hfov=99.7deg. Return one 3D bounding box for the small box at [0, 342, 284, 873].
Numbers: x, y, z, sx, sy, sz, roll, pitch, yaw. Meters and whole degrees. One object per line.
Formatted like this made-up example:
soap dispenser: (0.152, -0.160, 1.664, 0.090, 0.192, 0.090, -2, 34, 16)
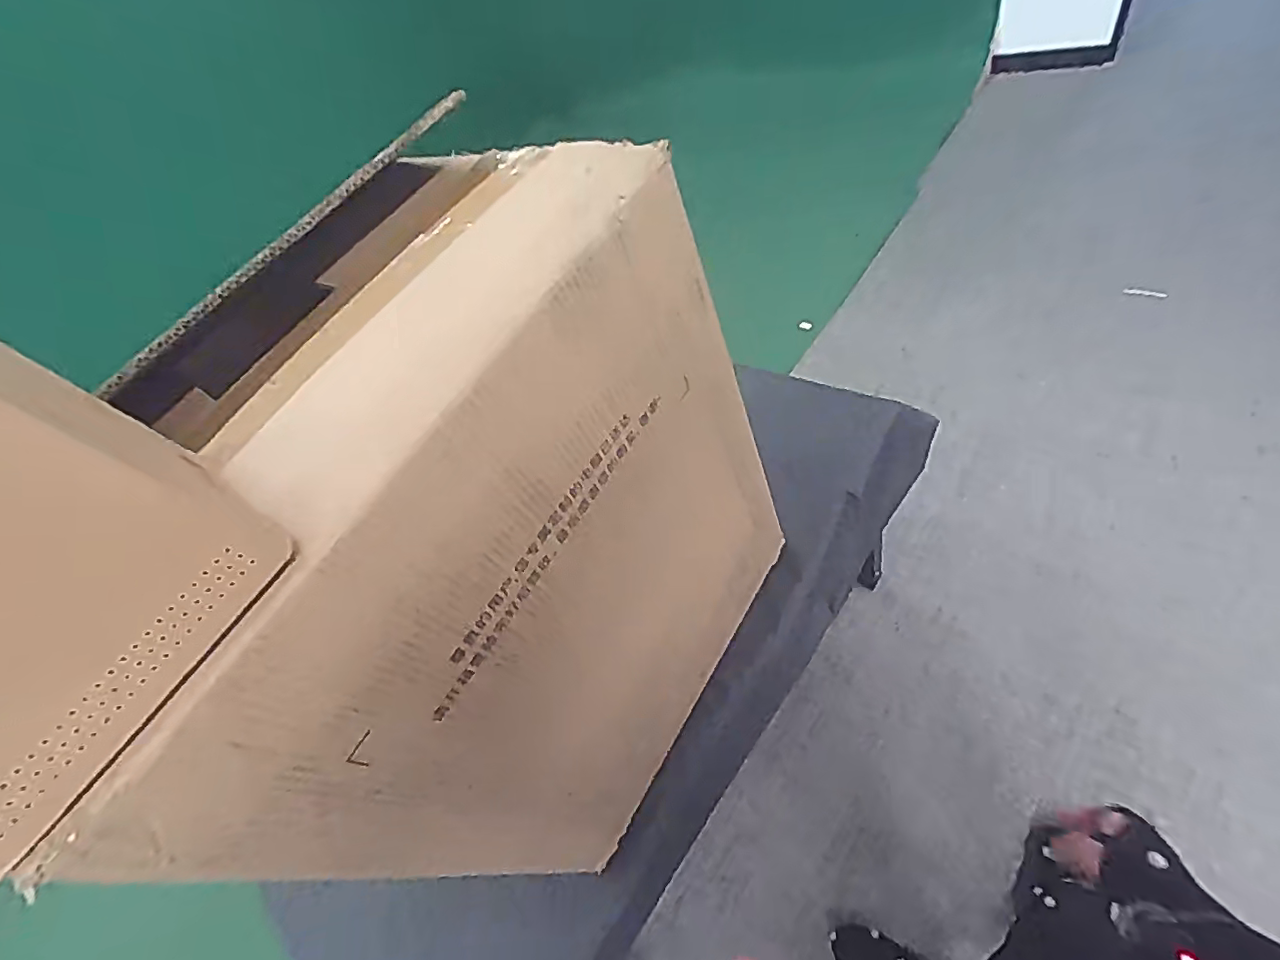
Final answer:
small box: (-0.303, 0.036, 0.223, 0.168, 0.176, 0.179, 24, 71, 32)
